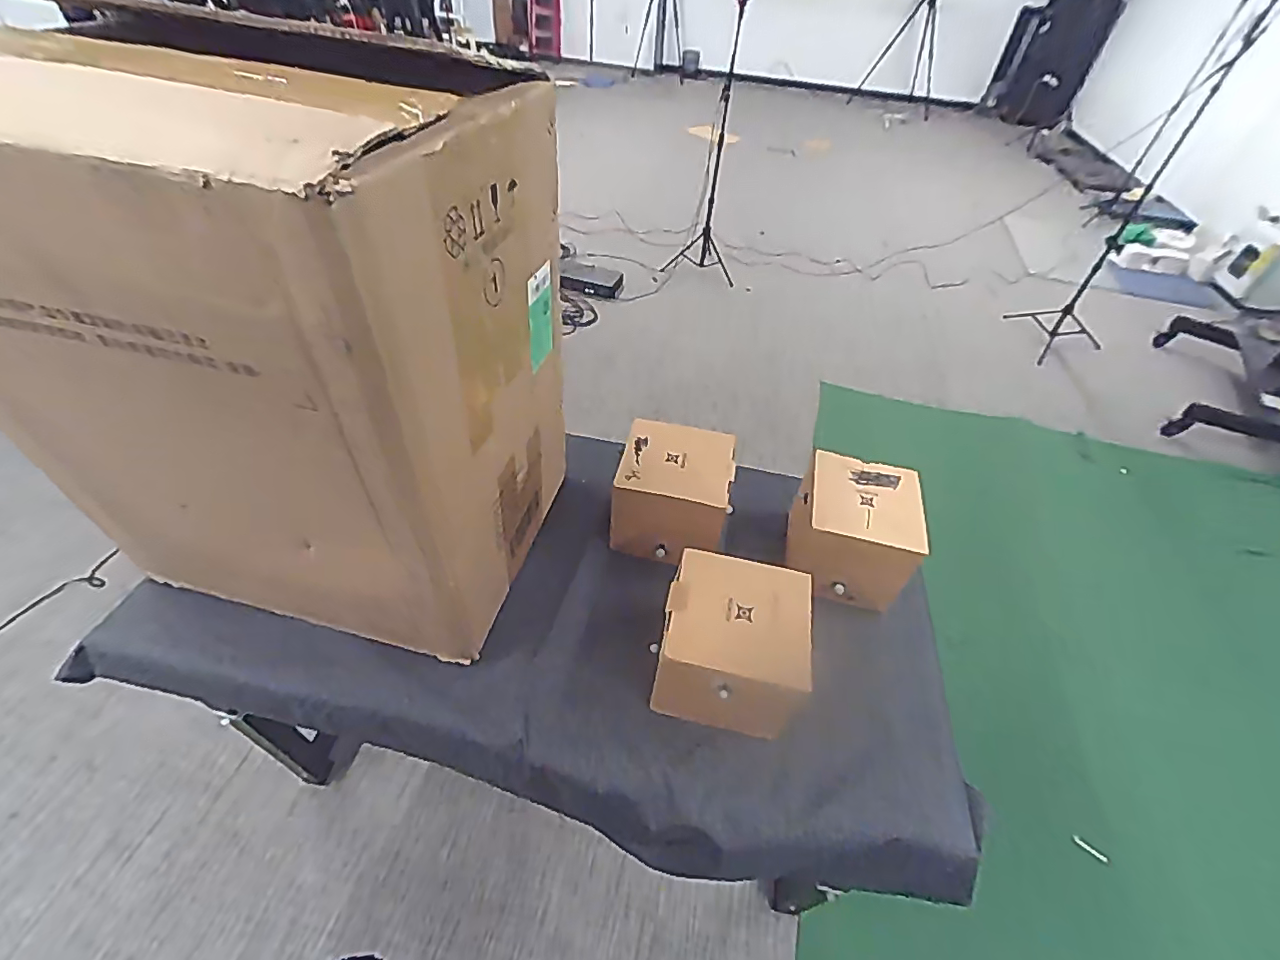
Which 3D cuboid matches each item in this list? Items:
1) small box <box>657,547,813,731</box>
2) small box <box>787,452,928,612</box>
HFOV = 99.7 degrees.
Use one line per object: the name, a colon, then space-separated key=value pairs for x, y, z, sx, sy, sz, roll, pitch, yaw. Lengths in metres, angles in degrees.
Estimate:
small box: x=0.126 y=0.221 z=0.741 sx=0.179 sy=0.176 sz=0.168 roll=12 pitch=47 yaw=5
small box: x=0.346 y=0.085 z=0.891 sx=0.168 sy=0.176 sz=0.179 roll=13 pitch=47 yaw=8
